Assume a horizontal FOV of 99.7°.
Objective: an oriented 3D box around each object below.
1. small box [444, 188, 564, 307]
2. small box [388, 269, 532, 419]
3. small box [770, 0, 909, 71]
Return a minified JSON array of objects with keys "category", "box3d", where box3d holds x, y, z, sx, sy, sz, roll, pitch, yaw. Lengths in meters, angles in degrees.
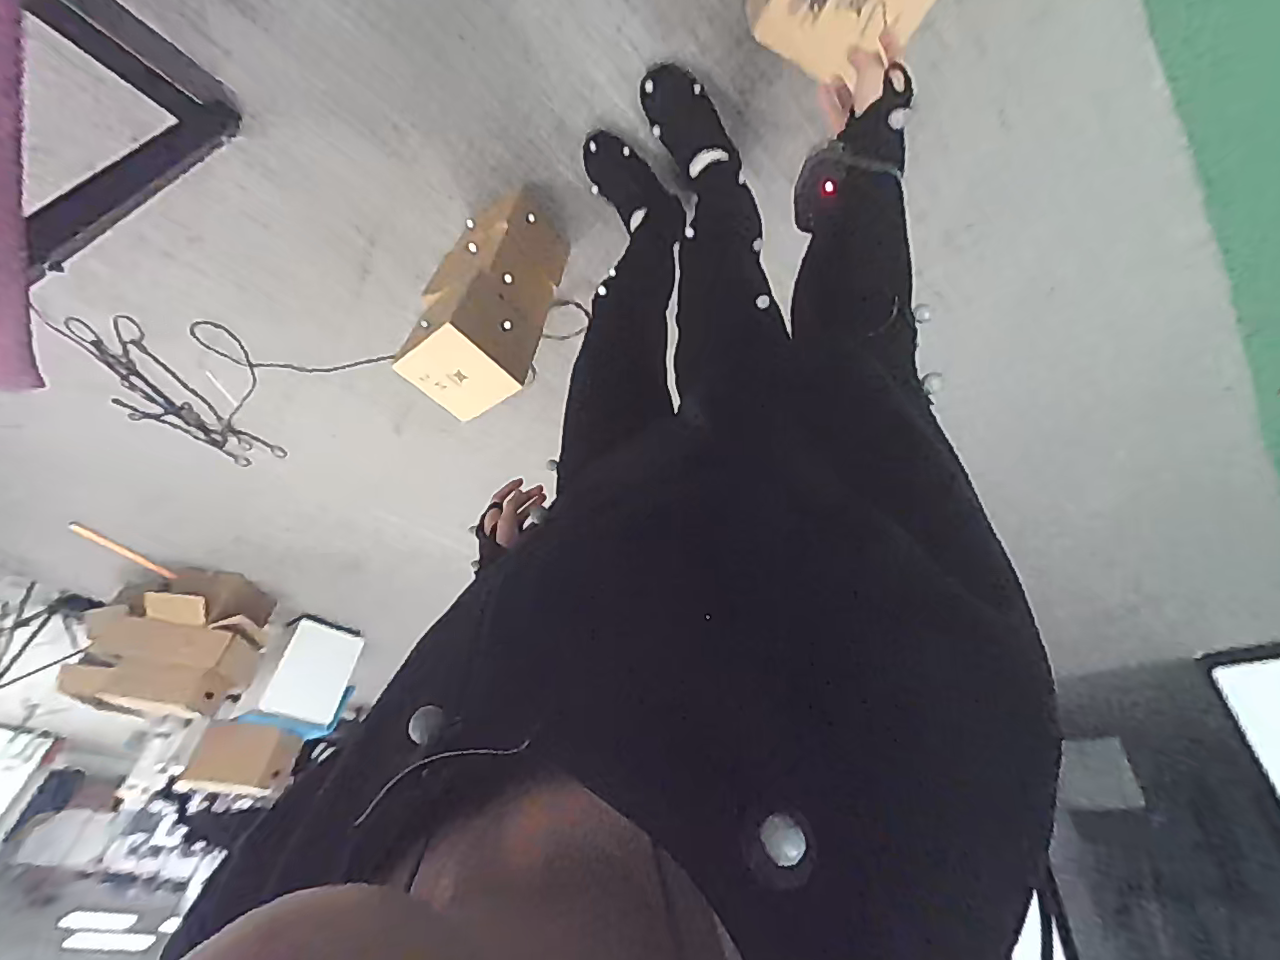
[{"category":"small box","box3d":[-0.291,-0.508,1.191,0.168,0.176,0.179,-15,138,26]},{"category":"small box","box3d":[-0.318,-0.249,0.993,0.179,0.176,0.168,-20,134,32]},{"category":"small box","box3d":[0.278,-0.756,0.788,0.179,0.176,0.168,-20,136,30]}]
